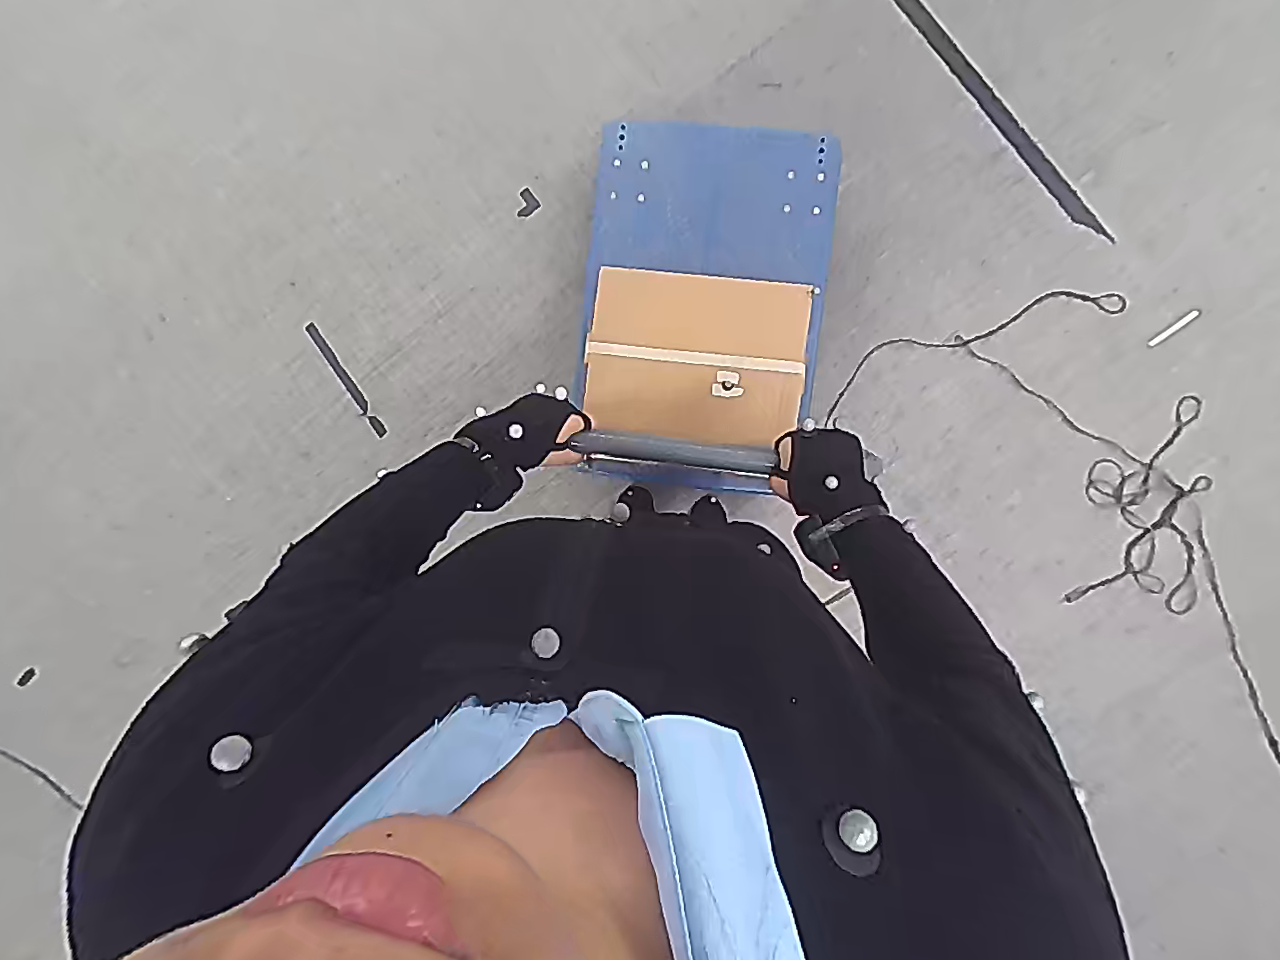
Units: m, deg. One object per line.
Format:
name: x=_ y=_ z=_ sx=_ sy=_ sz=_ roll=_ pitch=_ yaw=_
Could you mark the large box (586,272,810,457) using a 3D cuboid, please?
large box: x=0.114 y=-0.227 z=1.172 sx=0.408 sy=0.320 sz=0.320 roll=7 pitch=91 yaw=3
